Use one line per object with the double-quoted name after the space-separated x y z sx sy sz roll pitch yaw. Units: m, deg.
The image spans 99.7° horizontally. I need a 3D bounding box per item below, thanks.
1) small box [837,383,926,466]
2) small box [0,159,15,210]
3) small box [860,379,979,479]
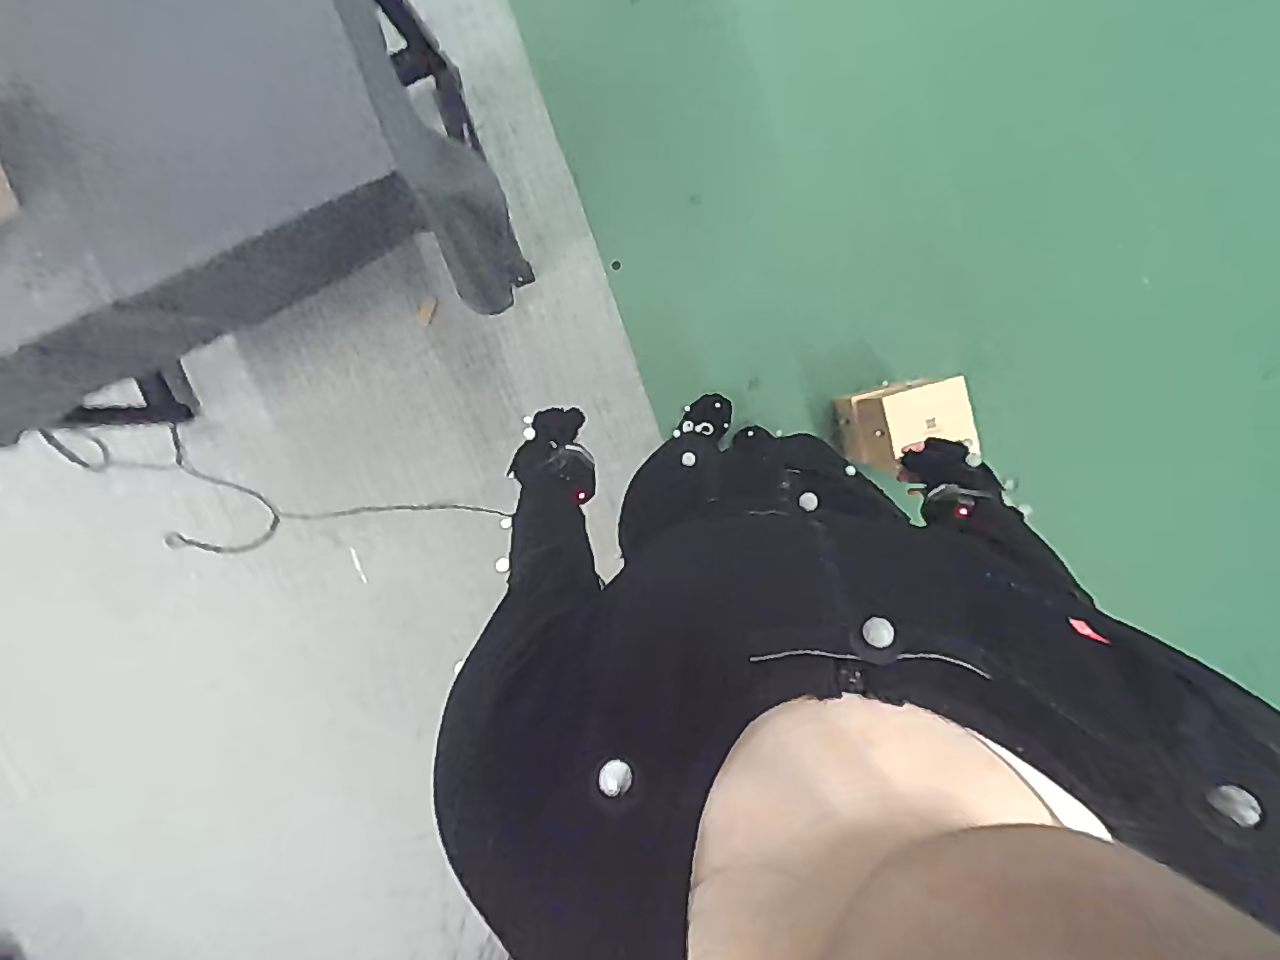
0.604 -0.136 1.346 0.179 0.176 0.168 -13 96 6 "small box"
-1.026 -0.461 0.721 0.168 0.176 0.179 -18 96 8 "small box"
0.601 -0.111 1.184 0.168 0.176 0.179 -14 96 7 "small box"
